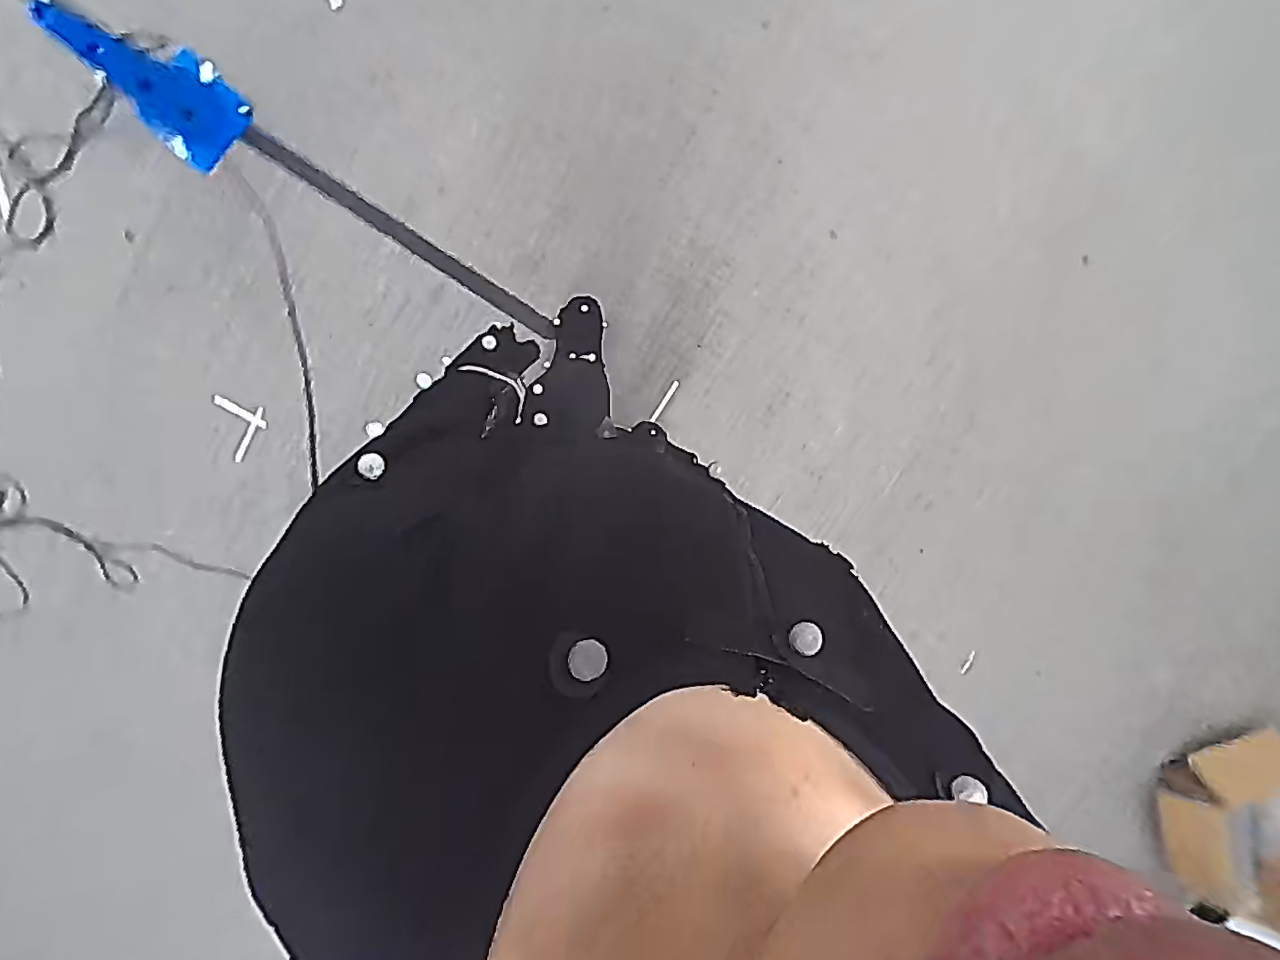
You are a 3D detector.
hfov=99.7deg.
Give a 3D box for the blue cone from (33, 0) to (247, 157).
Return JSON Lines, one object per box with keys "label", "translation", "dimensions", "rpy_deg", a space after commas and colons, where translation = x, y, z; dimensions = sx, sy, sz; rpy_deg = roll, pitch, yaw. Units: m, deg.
{"label": "blue cone", "translation": [-1.013, -0.831, 1.073], "dimensions": [0.192, 0.380, 0.193], "rpy_deg": [-43, 102, 4]}
